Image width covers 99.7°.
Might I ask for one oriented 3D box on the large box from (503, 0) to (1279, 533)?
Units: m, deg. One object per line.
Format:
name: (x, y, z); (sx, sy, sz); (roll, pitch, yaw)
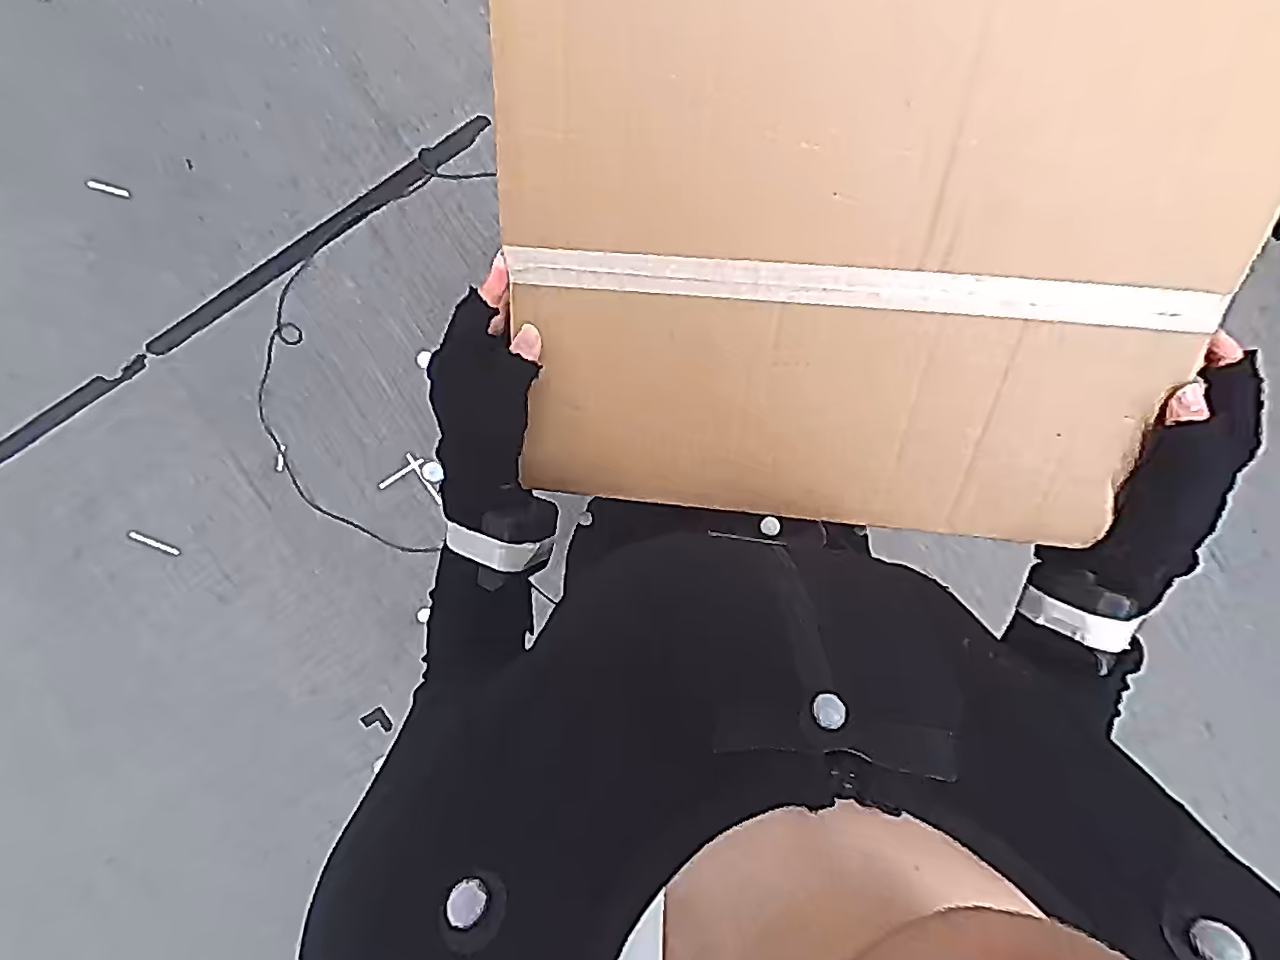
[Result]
large box: (0.134, -0.181, 0.457); (0.408, 0.320, 0.320); (6, 118, 4)
